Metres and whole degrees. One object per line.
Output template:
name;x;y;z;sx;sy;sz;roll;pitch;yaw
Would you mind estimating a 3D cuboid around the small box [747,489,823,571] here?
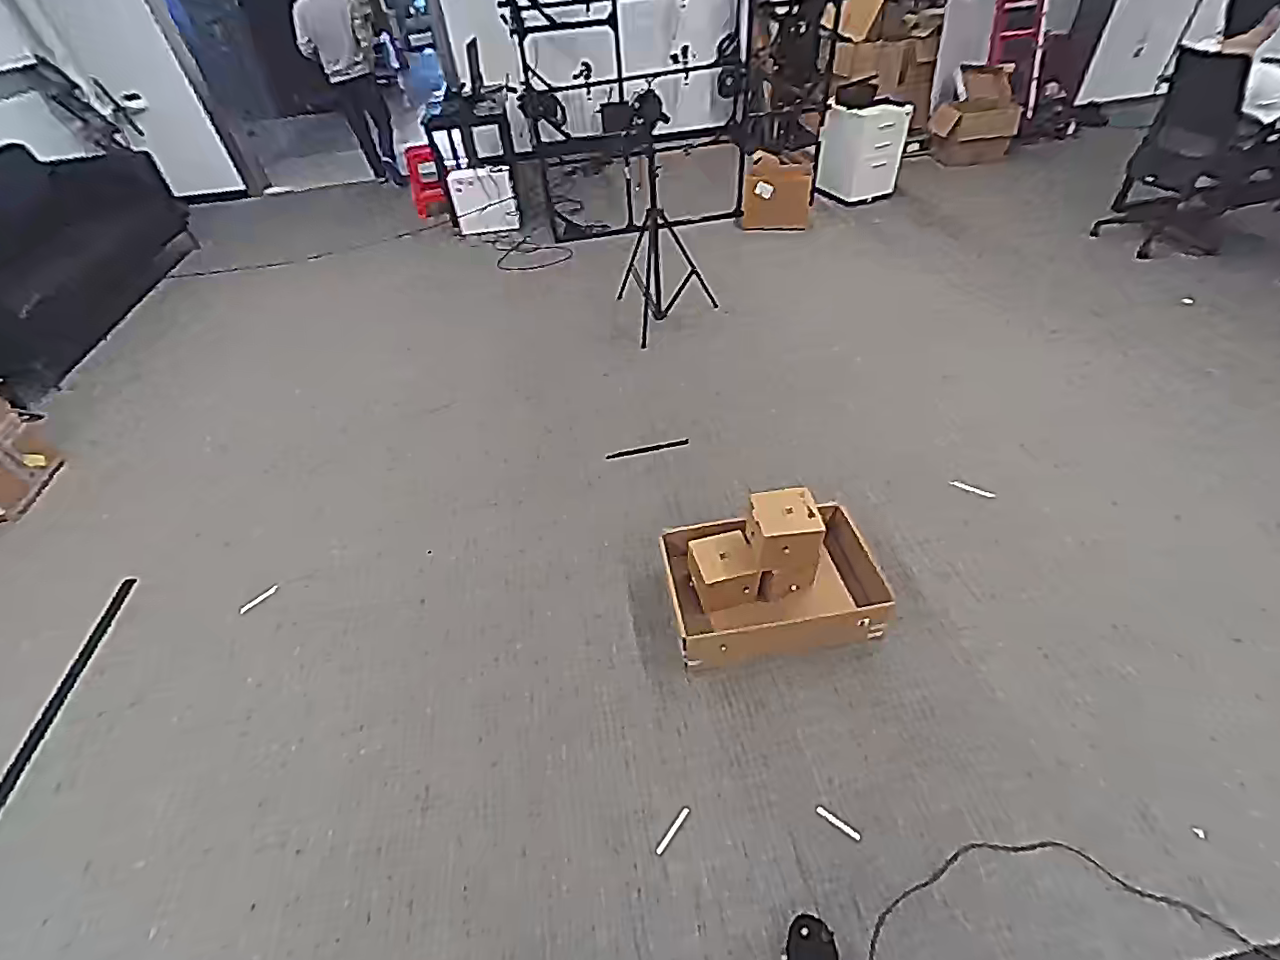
small box;0.415;0.151;1.582;0.179;0.176;0.168;-8;46;0
